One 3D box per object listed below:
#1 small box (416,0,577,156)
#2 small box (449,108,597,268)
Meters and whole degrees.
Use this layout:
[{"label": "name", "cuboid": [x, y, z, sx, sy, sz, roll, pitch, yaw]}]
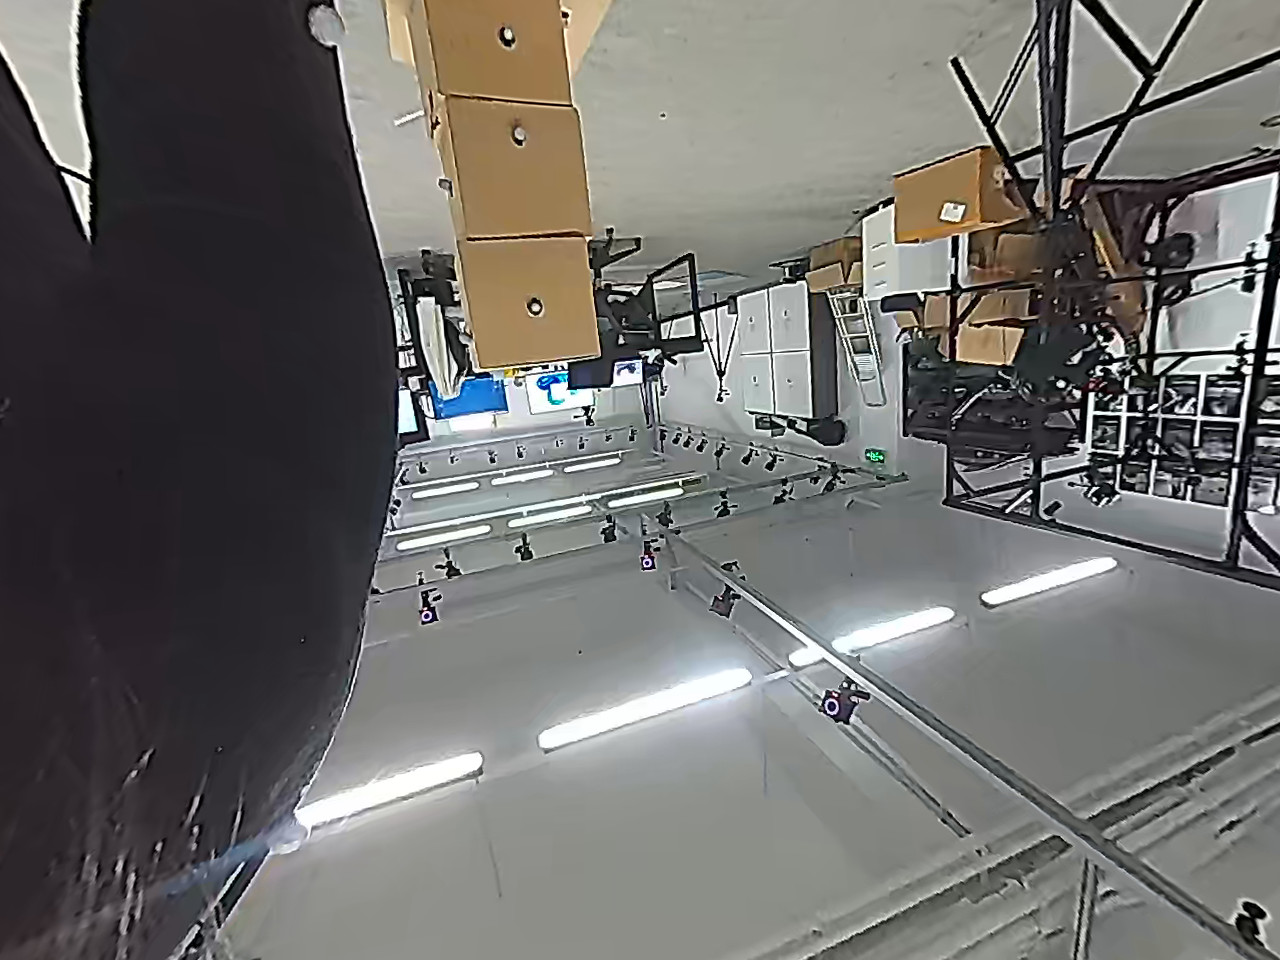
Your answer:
[{"label": "small box", "cuboid": [-0.206, -0.575, 0.755, 0.179, 0.176, 0.168, -13, -166, -22]}, {"label": "small box", "cuboid": [-0.177, -0.418, 0.794, 0.179, 0.176, 0.168, -10, -167, -20]}]
